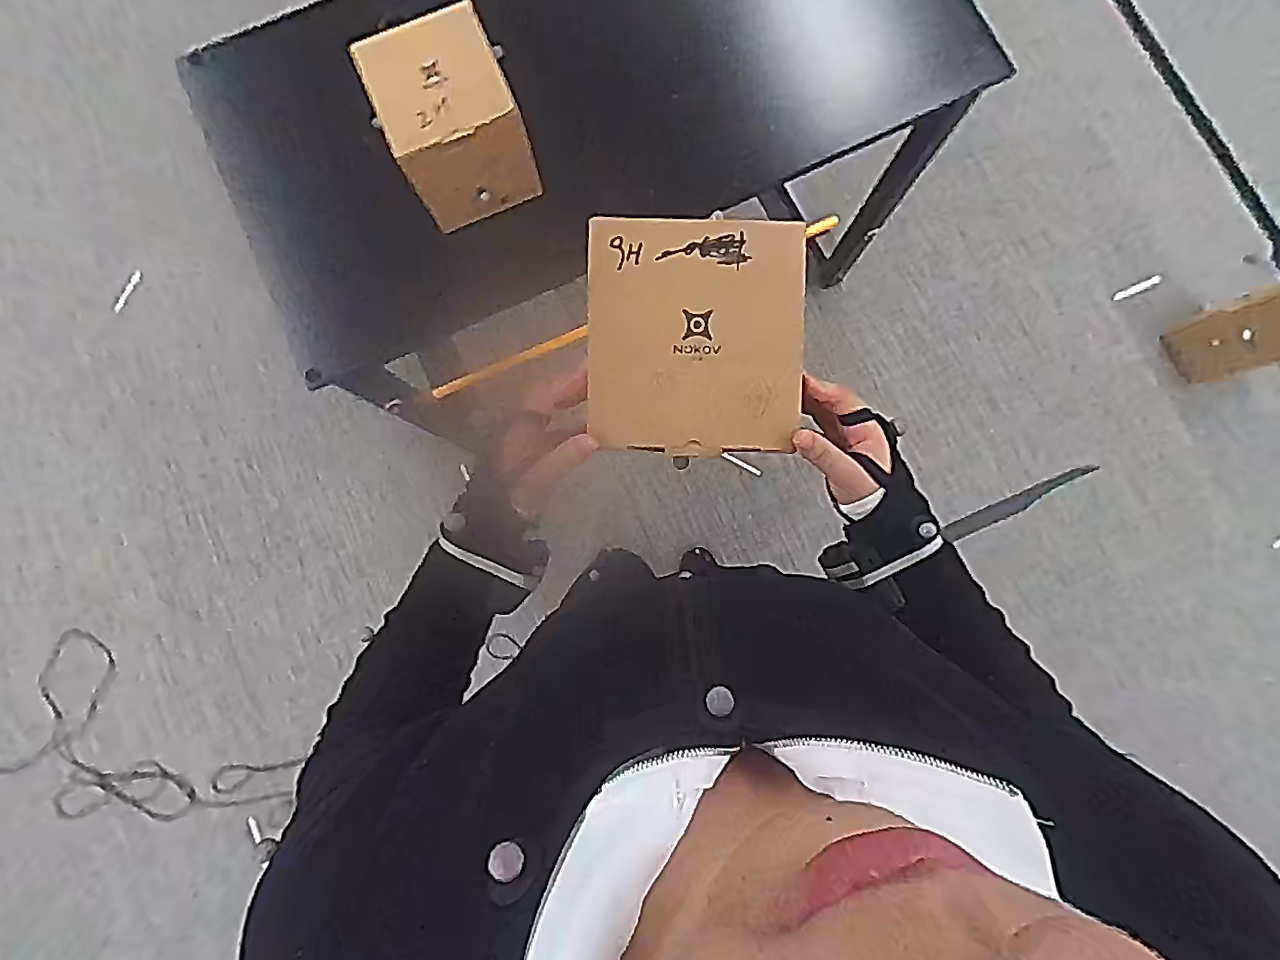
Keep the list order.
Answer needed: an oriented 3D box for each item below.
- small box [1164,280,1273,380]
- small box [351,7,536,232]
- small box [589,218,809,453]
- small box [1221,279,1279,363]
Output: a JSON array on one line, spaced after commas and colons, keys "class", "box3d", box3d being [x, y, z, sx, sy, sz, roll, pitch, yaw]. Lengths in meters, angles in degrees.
[{"class": "small box", "box3d": [1.595, -0.397, 1.460, 0.168, 0.176, 0.179, -27, 84, -2]}, {"class": "small box", "box3d": [-0.266, -0.498, 0.771, 0.168, 0.176, 0.179, -24, 83, -2]}, {"class": "small box", "box3d": [0.044, -0.116, 0.493, 0.168, 0.176, 0.179, 1, 94, -1]}, {"class": "small box", "box3d": [1.591, -0.410, 1.299, 0.179, 0.176, 0.168, -29, 82, -1]}]
